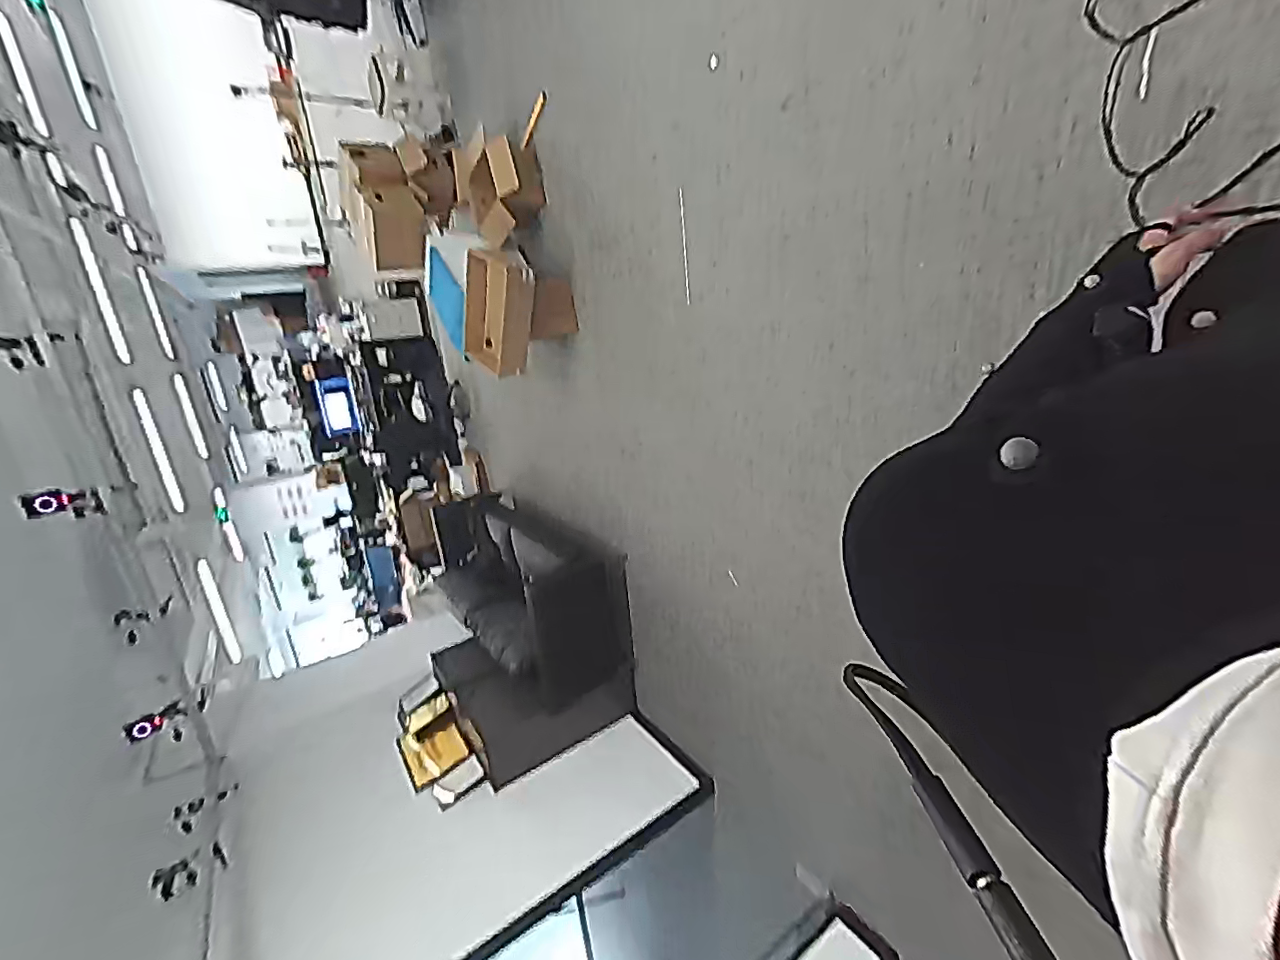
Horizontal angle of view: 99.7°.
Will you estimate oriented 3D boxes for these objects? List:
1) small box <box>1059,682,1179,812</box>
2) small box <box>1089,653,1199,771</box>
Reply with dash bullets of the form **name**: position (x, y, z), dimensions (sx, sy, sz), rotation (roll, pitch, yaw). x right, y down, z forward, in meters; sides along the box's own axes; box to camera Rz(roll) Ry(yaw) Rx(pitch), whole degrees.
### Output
- **small box**: position (1.099, 0.599, 1.241), dimensions (0.168, 0.176, 0.179), rotation (15, 117, 54)
- **small box**: position (1.233, 0.559, 1.327), dimensions (0.168, 0.176, 0.179), rotation (10, 112, 55)
